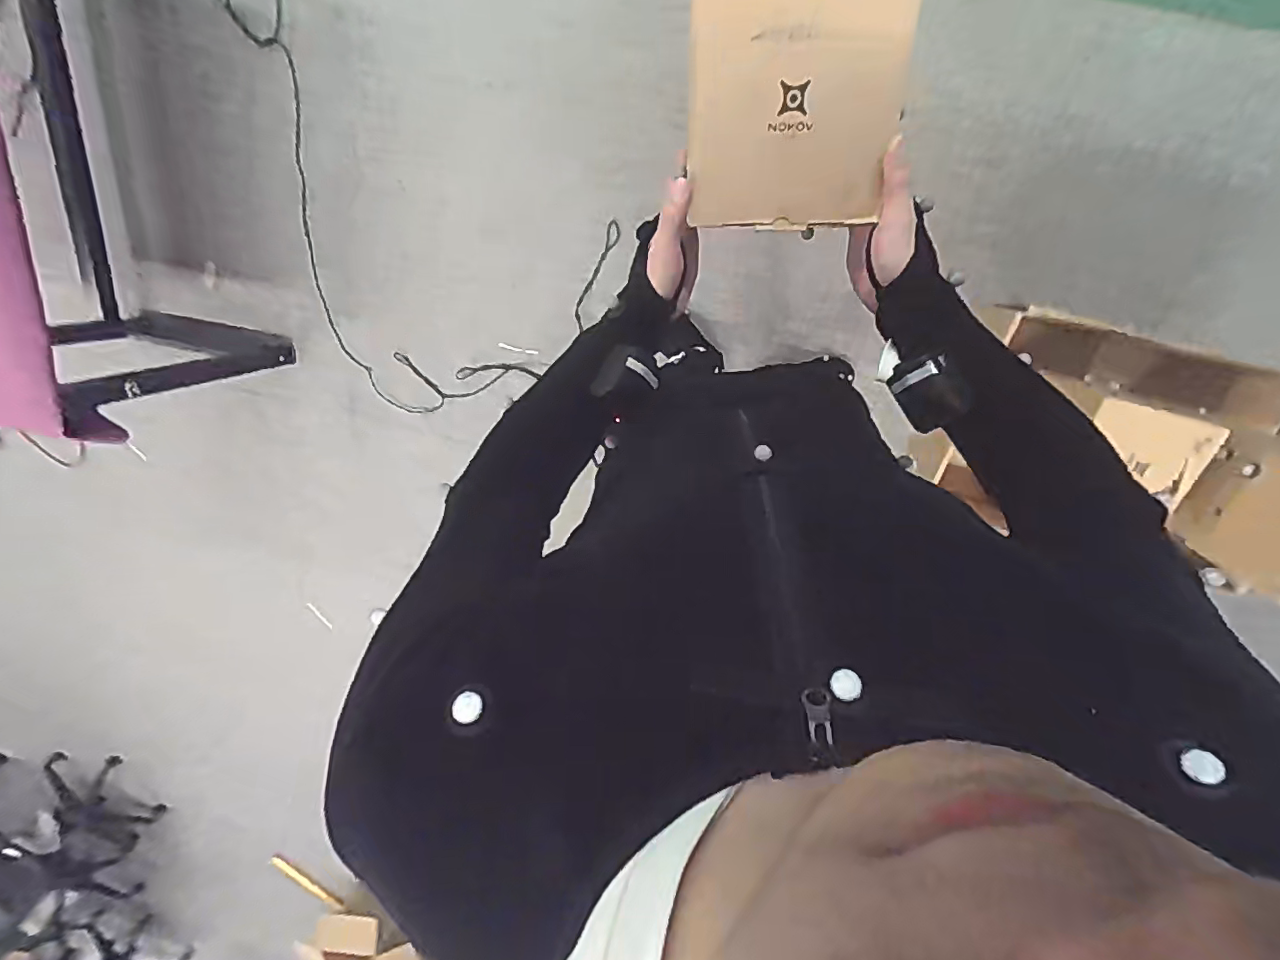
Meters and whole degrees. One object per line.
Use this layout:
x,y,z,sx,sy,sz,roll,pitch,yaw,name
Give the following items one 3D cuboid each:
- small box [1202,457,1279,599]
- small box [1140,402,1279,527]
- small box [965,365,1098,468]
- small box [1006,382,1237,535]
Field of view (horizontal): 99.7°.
0.900,0.080,0.687,0.179,0.176,0.168,14,113,7,small box
0.991,-0.032,0.983,0.179,0.176,0.168,17,114,7,small box
0.748,-0.102,0.992,0.179,0.176,0.168,17,113,2,small box
0.722,-0.043,0.842,0.179,0.176,0.168,17,114,3,small box
